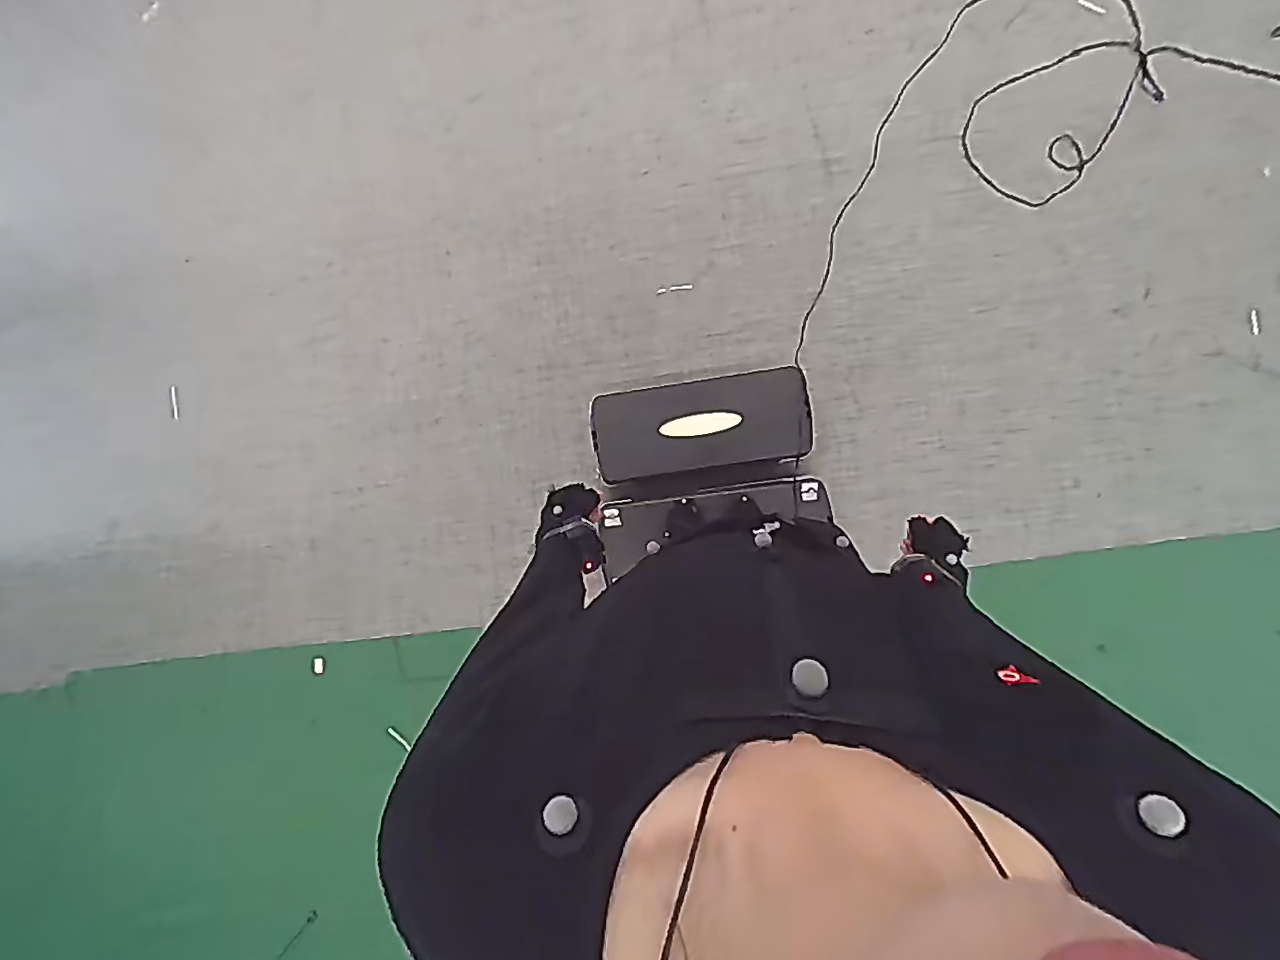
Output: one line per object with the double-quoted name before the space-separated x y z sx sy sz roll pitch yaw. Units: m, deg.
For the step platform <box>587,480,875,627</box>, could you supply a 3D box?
"step platform" 0.217 0.184 1.387 0.684 0.204 0.286 -8 87 3
